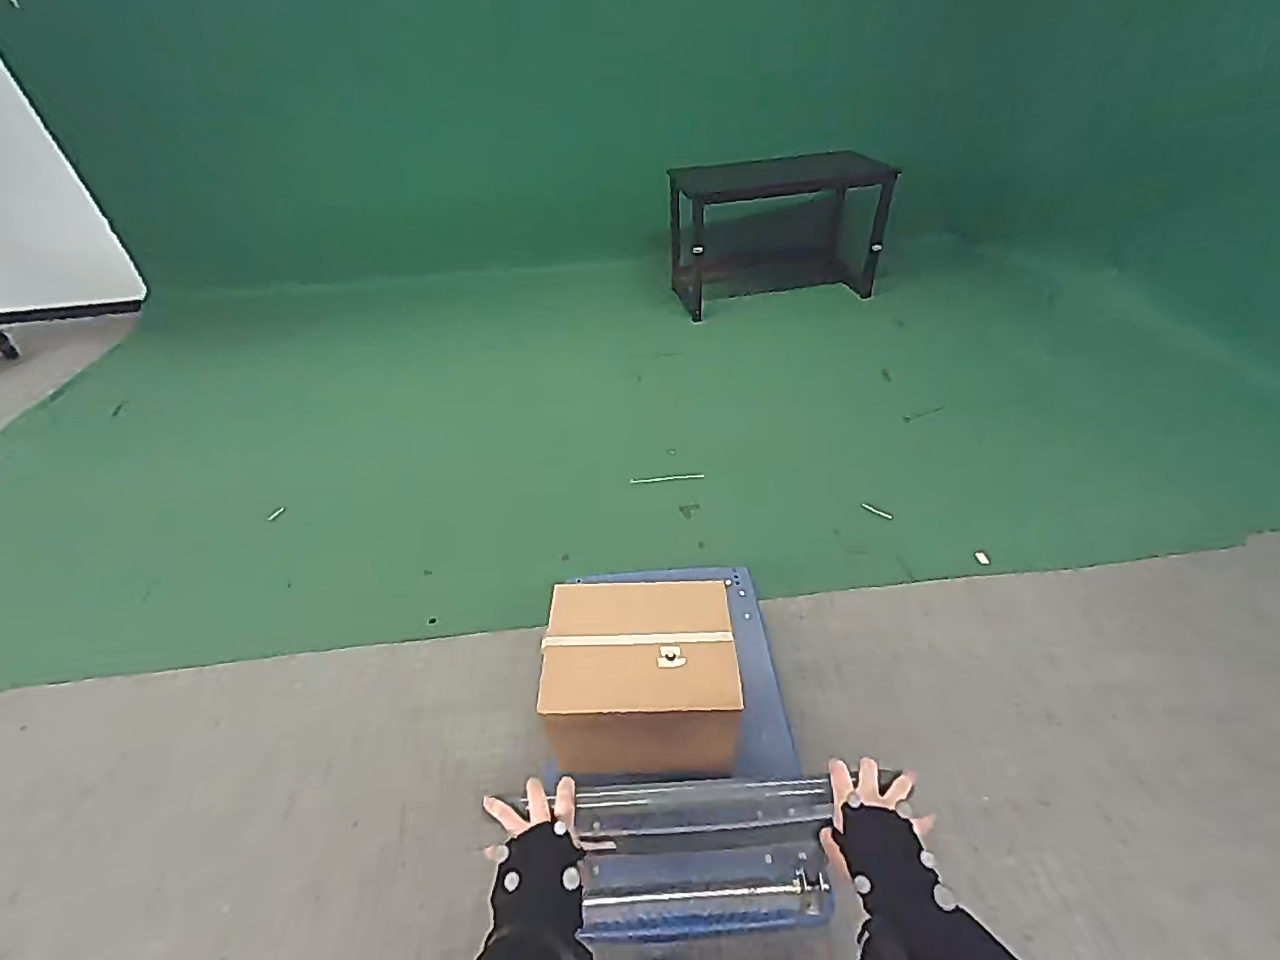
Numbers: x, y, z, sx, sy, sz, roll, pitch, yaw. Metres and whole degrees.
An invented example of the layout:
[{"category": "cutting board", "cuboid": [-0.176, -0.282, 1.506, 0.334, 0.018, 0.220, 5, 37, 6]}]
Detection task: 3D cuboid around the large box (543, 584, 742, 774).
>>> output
[{"category": "large box", "cuboid": [0.005, 0.467, 1.275, 0.408, 0.320, 0.320, -1, 41, 1]}]
